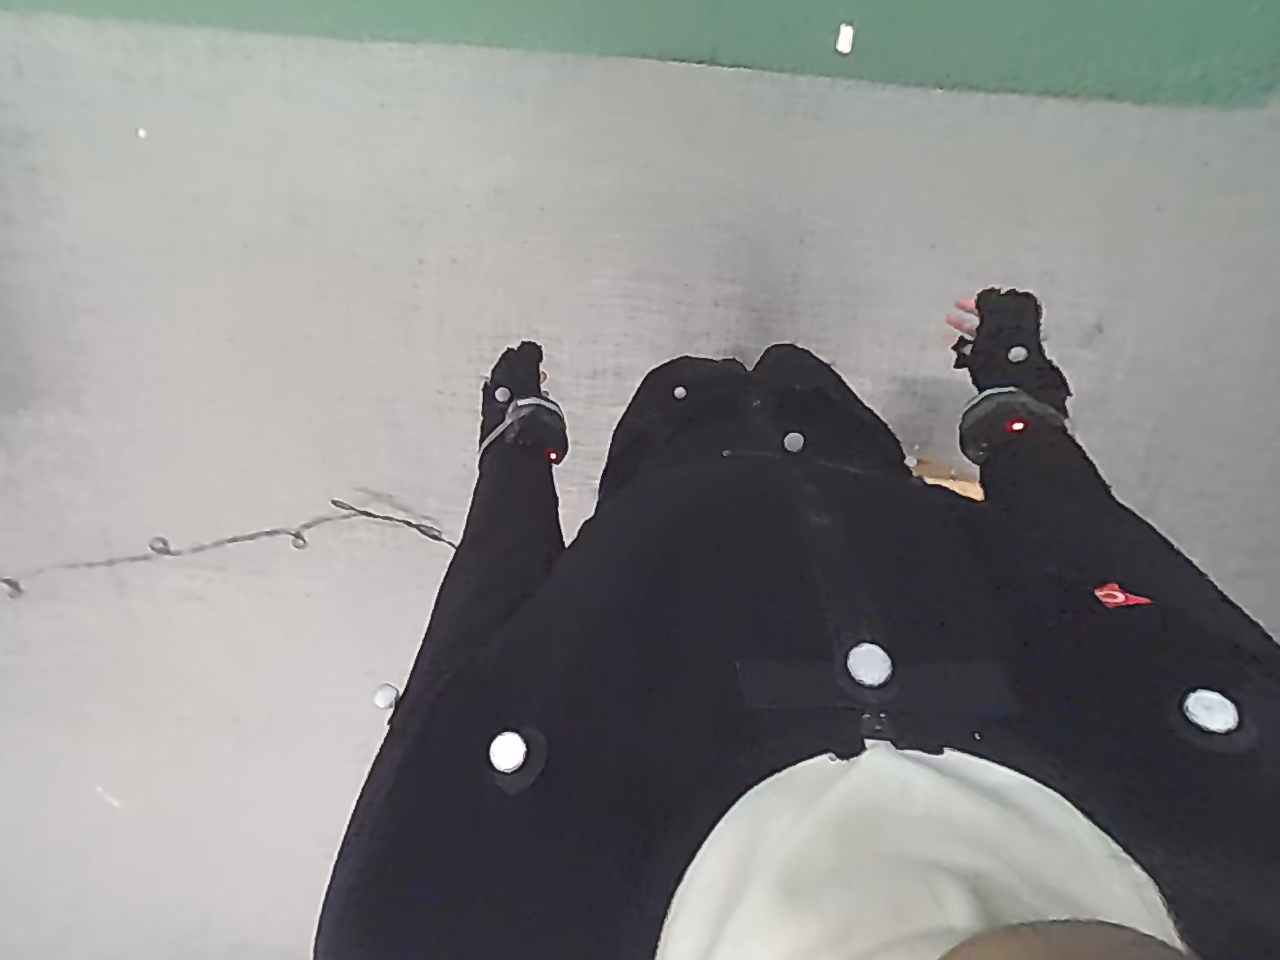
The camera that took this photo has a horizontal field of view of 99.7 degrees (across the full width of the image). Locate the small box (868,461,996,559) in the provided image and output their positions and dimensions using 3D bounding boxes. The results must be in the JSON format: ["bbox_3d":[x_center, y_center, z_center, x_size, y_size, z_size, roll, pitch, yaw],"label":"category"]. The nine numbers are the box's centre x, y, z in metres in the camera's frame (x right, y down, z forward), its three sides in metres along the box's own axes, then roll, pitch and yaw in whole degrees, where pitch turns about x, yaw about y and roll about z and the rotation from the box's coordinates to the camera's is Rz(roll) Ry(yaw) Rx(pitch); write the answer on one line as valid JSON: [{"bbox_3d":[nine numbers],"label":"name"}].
[{"bbox_3d":[0.631,0.059,1.190,0.179,0.176,0.168,6,104,2],"label":"small box"}]
